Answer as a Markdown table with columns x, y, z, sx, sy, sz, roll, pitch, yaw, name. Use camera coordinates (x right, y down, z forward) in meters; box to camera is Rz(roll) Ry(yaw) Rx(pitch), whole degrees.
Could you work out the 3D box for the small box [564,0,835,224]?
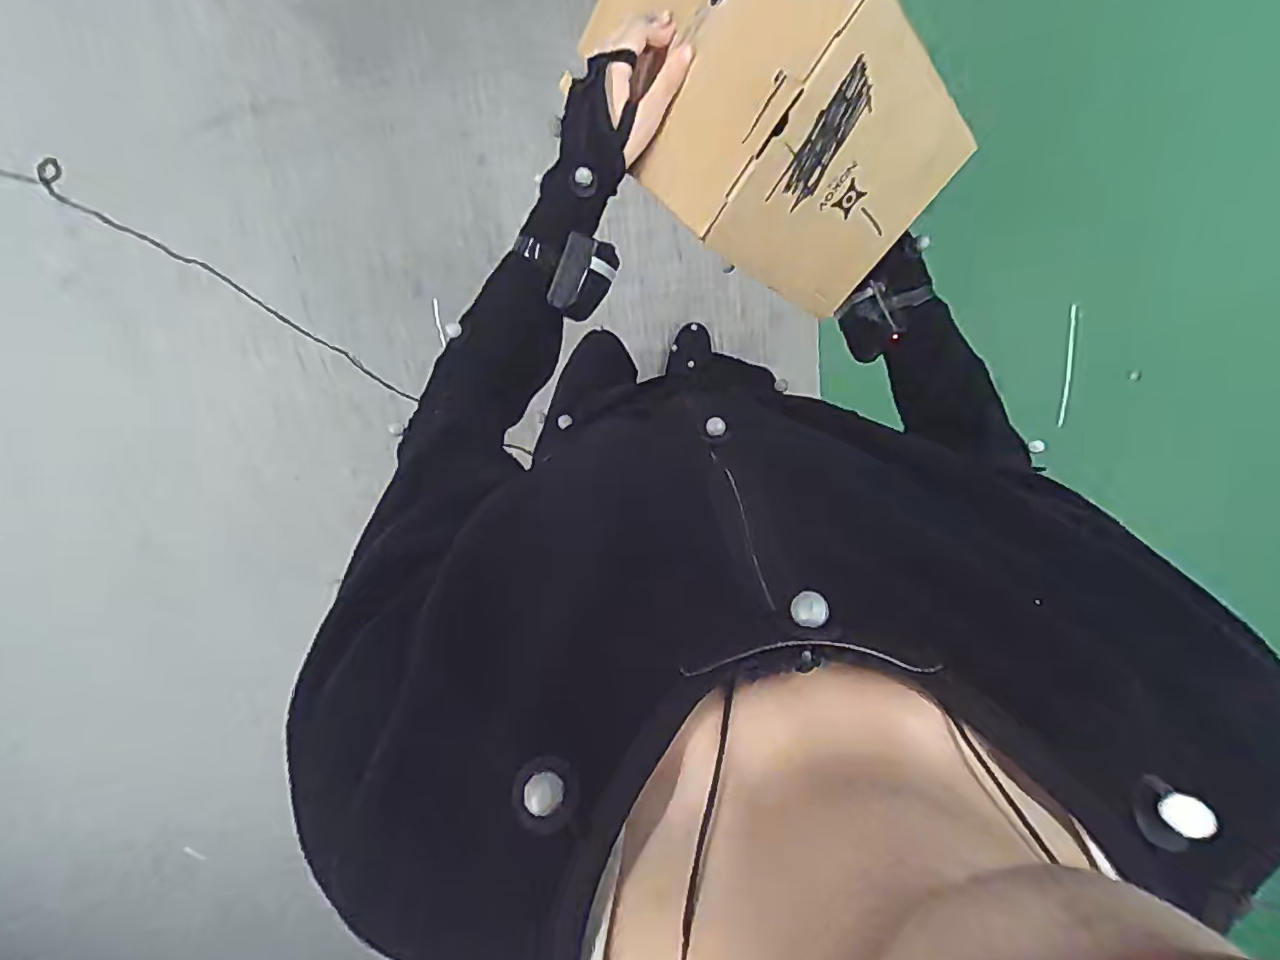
| x | y | z | sx | sy | sz | roll | pitch | yaw | name |
| --- | --- | --- | --- | --- | --- | --- | --- | --- | --- |
| 0.043 | -0.399 | 0.527 | 0.168 | 0.176 | 0.179 | 8 | 134 | -40 | small box |
